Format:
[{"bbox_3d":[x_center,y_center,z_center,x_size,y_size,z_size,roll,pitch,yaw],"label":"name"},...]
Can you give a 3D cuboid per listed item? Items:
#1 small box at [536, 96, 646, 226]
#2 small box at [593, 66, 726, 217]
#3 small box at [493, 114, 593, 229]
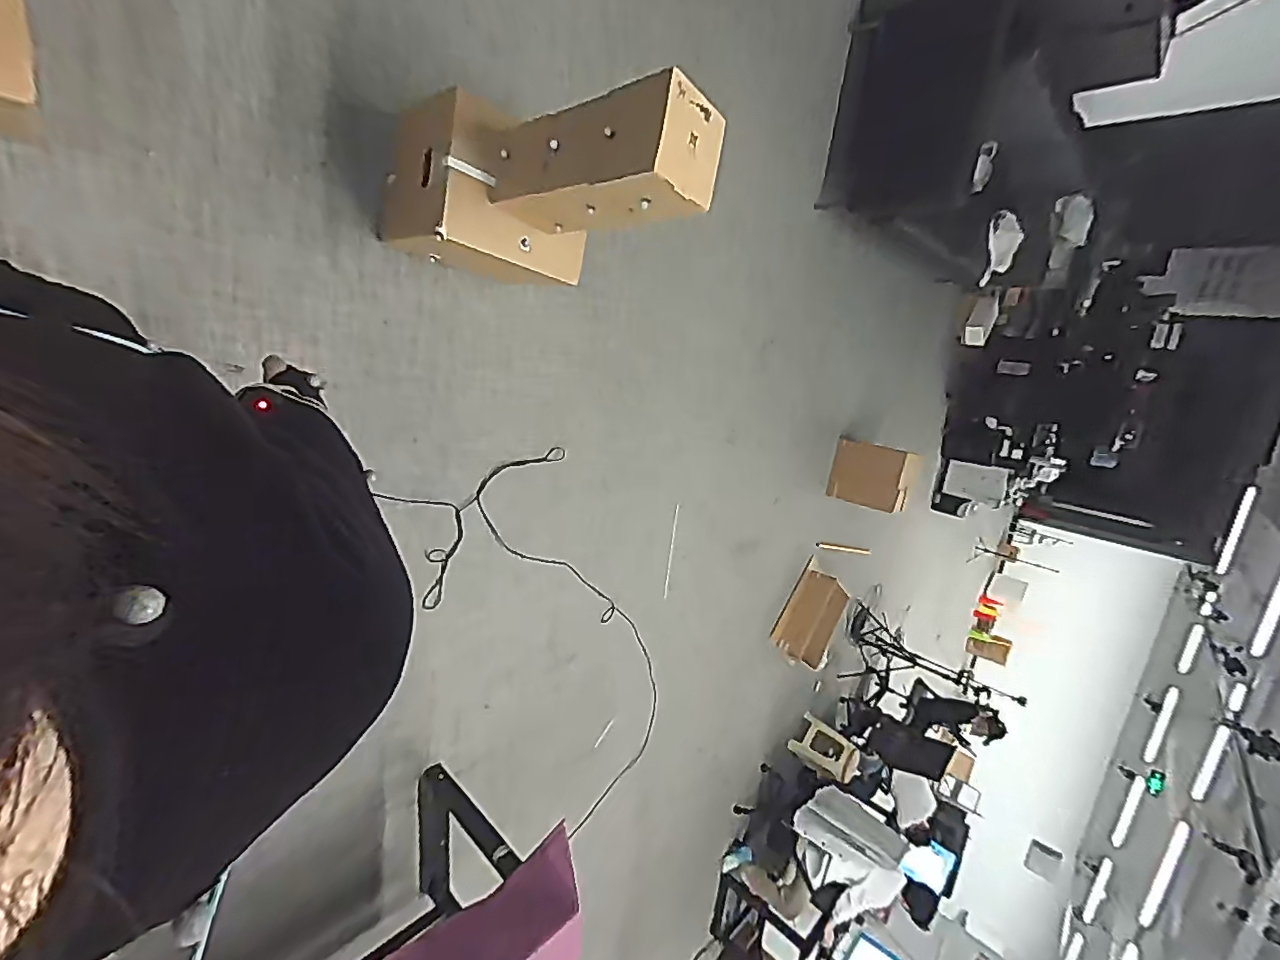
[{"bbox_3d":[-0.086,-0.649,1.127,0.179,0.176,0.168,8,95,-48],"label":"small box"},{"bbox_3d":[0.032,-0.617,1.018,0.168,0.176,0.179,7,97,-49],"label":"small box"},{"bbox_3d":[-0.206,-0.689,1.233,0.179,0.176,0.168,7,97,-48],"label":"small box"}]
